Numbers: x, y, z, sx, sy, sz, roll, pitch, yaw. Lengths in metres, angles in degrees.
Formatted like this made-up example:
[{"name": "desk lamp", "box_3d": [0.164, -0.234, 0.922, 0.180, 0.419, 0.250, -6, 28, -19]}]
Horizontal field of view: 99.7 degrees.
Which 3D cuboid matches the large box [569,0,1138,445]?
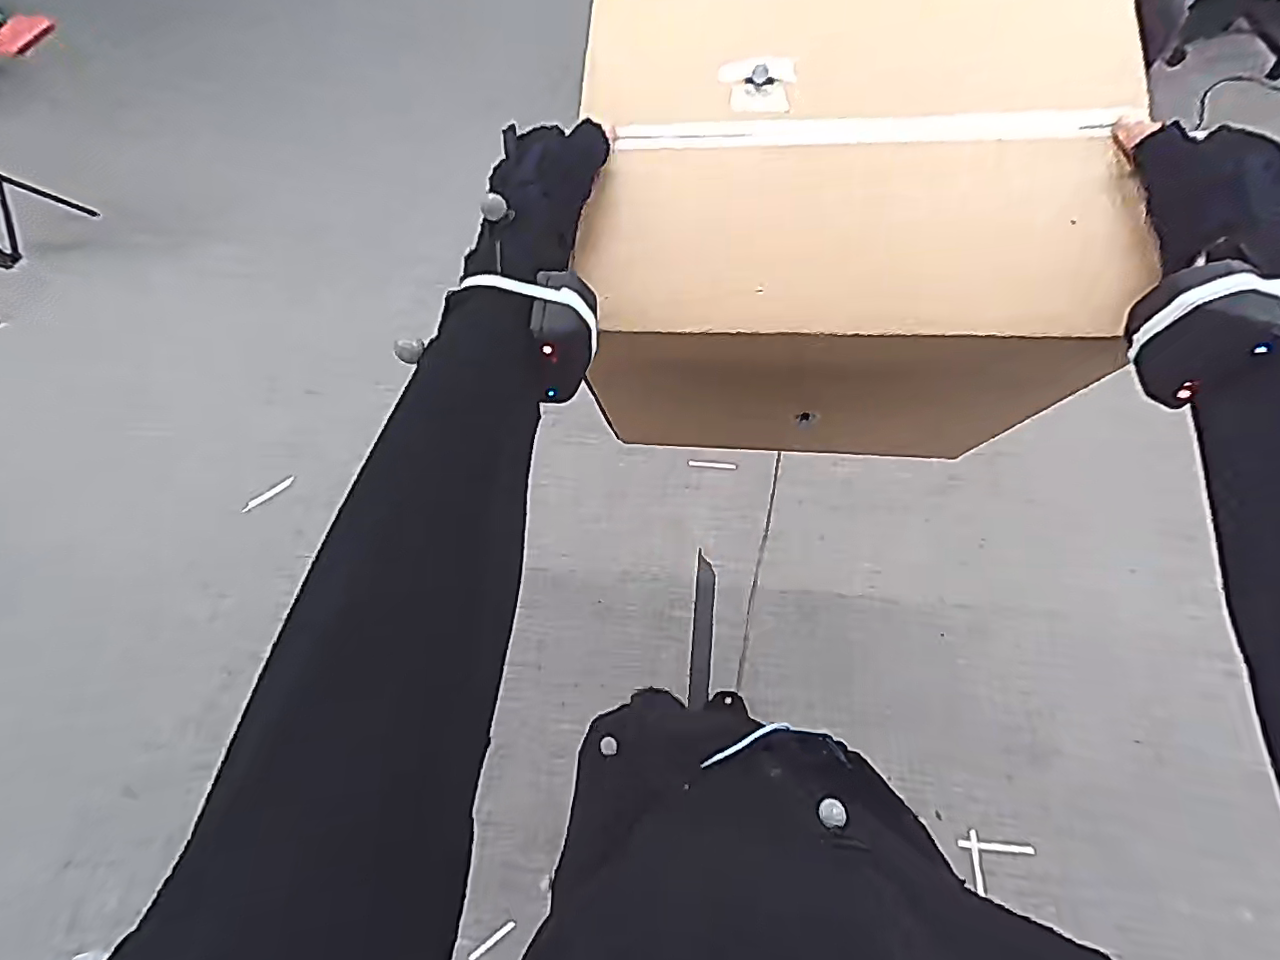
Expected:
[{"name": "large box", "box_3d": [0.171, -0.224, 0.564, 0.408, 0.320, 0.320, 3, 78, 9]}]
